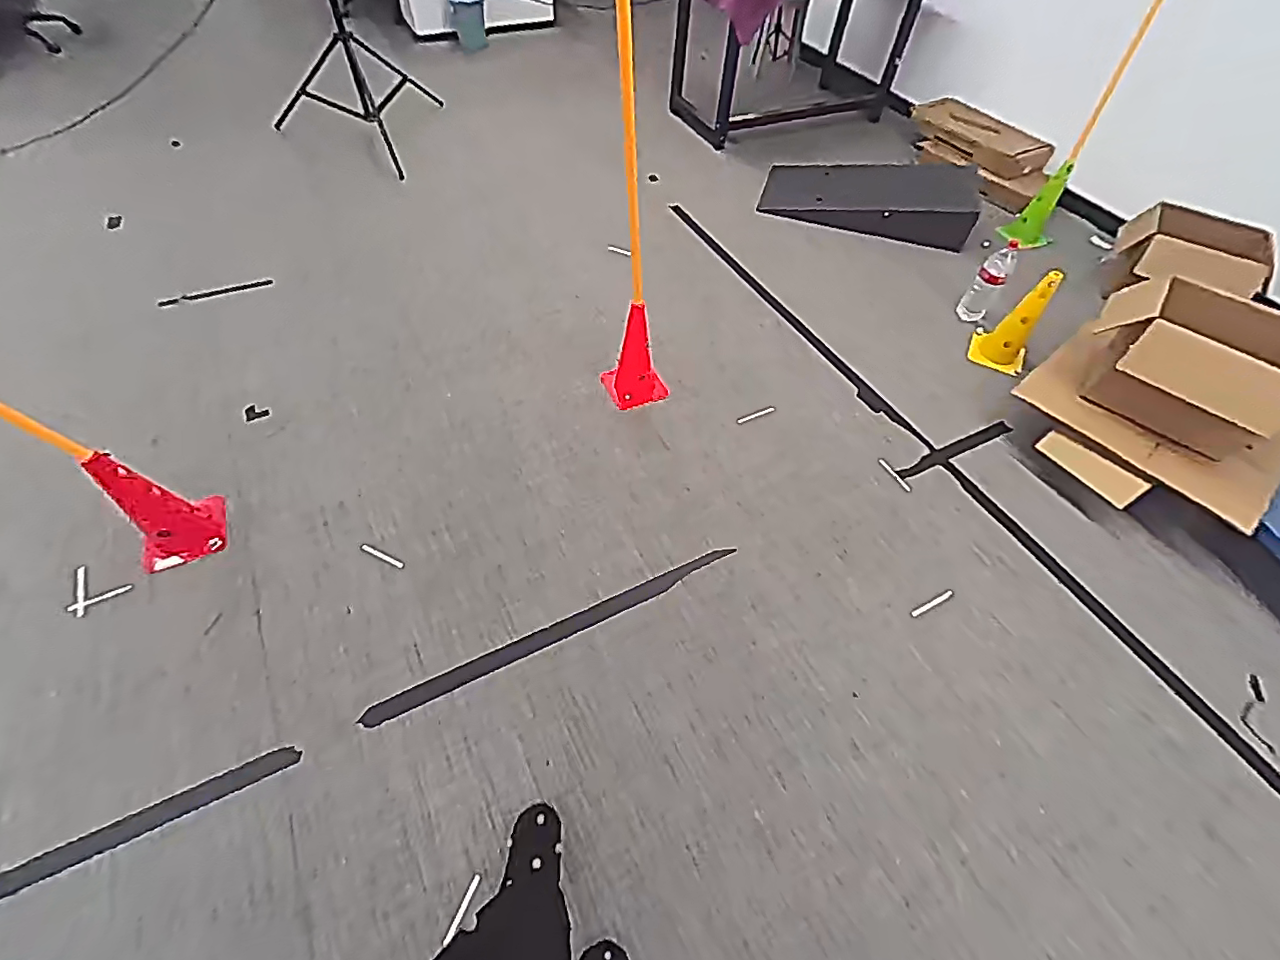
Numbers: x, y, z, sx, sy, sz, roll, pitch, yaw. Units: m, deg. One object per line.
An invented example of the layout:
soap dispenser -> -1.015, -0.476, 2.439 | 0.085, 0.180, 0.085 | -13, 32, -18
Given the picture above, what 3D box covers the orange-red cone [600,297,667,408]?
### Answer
orange-red cone -> -0.016, -0.444, 1.788 | 0.199, 0.360, 0.198 | -18, 58, -16
